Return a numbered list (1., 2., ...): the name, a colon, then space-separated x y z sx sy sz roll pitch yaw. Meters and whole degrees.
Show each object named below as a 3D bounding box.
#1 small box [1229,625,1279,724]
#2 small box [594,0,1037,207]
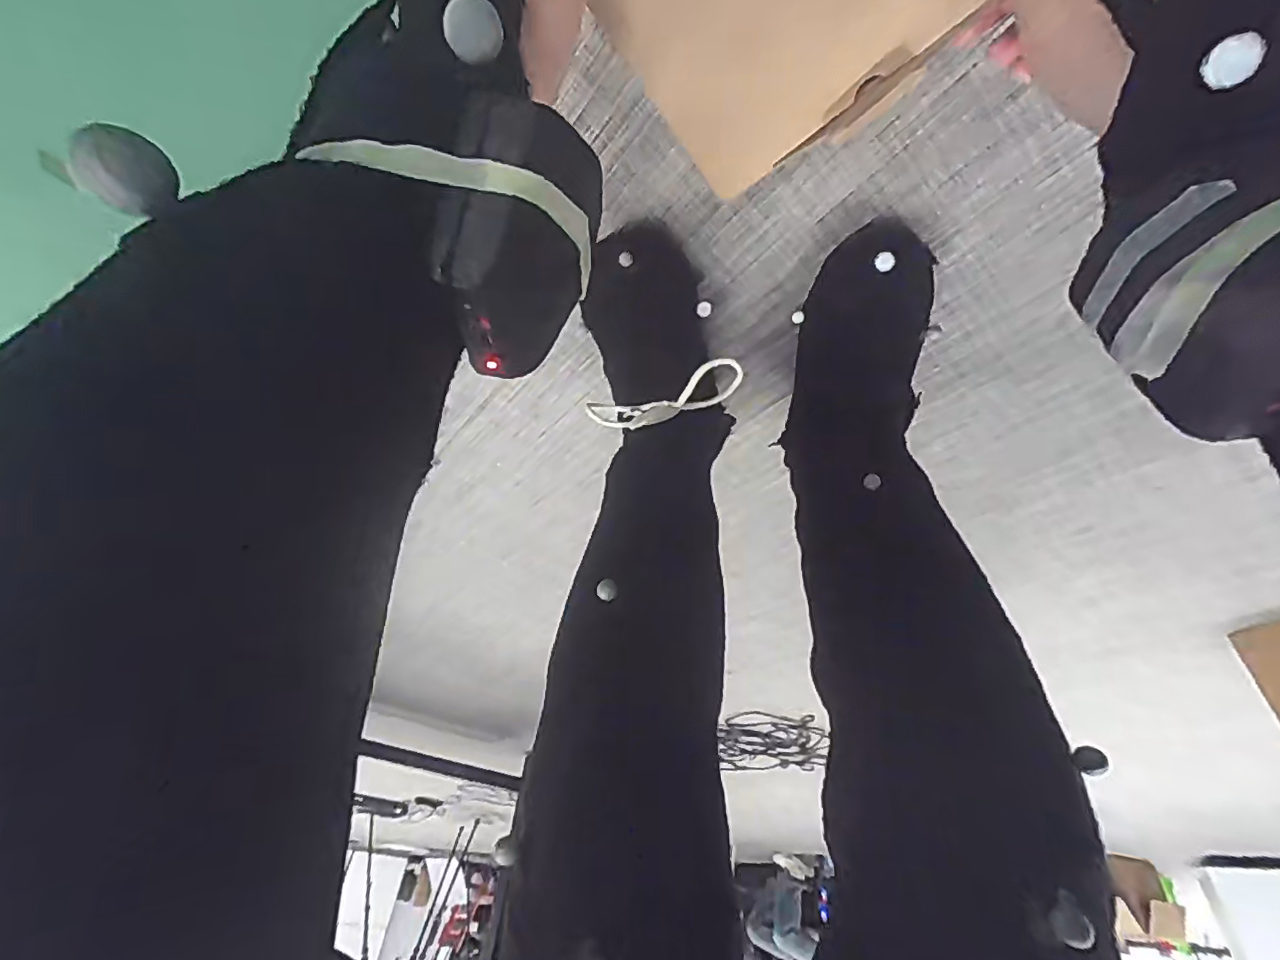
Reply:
1. small box: 1.108 0.315 0.840 0.168 0.176 0.179 18 141 -13
2. small box: 0.067 -0.283 0.255 0.168 0.176 0.179 -25 132 33
